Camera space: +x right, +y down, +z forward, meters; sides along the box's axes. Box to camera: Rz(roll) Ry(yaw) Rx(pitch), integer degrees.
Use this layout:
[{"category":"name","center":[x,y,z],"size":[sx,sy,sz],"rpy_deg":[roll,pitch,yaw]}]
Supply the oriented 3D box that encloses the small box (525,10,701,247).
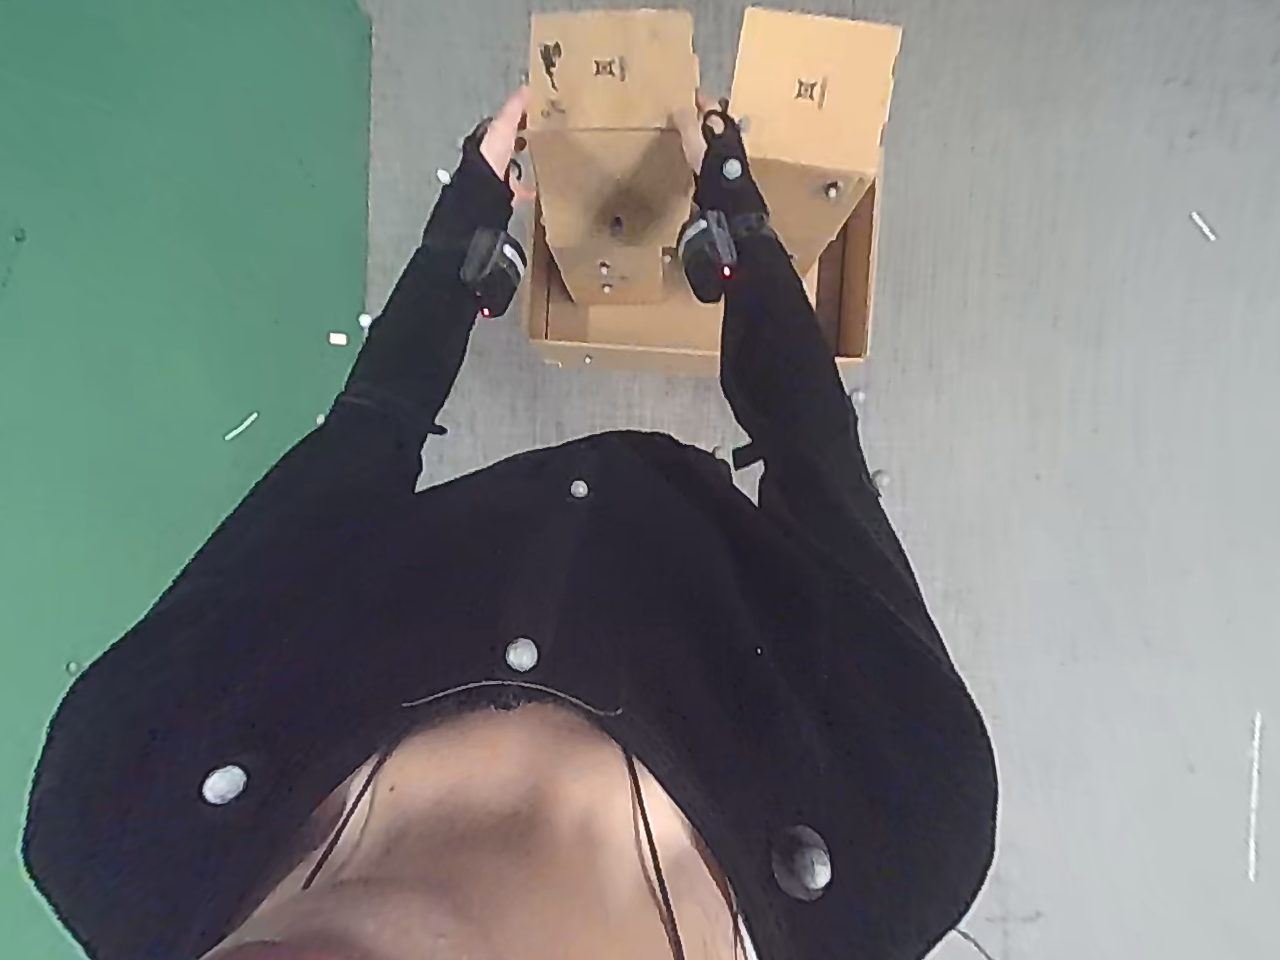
[{"category":"small box","center":[-0.029,-0.395,0.631],"size":[0.179,0.176,0.168],"rpy_deg":[0,73,-1]}]

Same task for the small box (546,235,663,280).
[{"category":"small box","center":[-0.045,-0.423,0.839],"size":[0.168,0.176,0.179],"rpy_deg":[3,92,1]}]
